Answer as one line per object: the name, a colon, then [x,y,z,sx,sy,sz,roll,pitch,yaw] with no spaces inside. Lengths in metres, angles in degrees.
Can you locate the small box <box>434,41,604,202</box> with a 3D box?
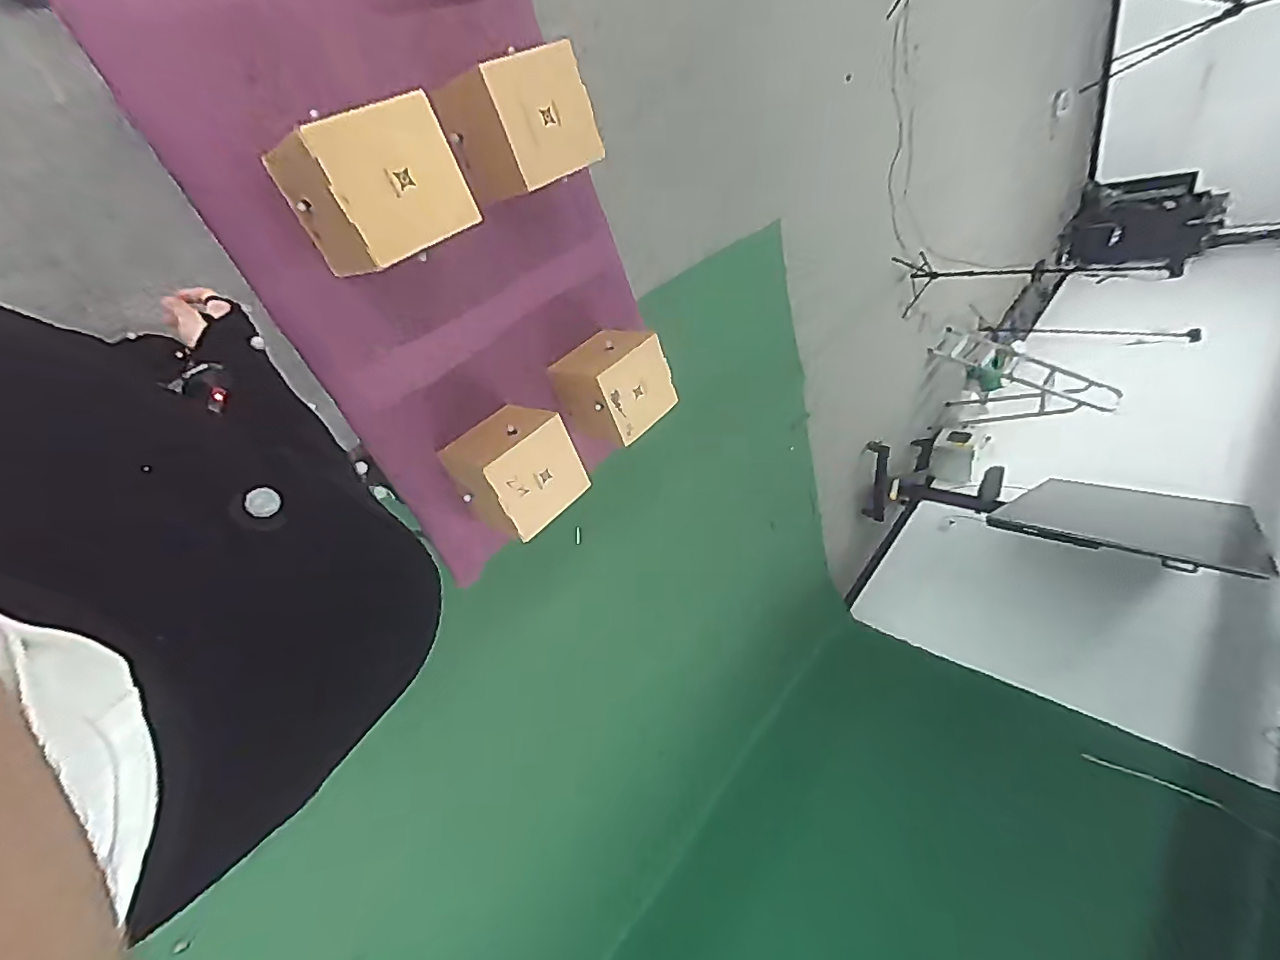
small box: [-0.194,-0.571,0.875,0.179,0.176,0.168,-41,128,-28]

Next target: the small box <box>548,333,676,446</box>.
small box: [-0.058,-0.197,1.129,0.179,0.176,0.168,-43,129,-28]

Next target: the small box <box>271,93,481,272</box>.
small box: [-0.364,-0.405,0.752,0.179,0.176,0.168,-43,130,-28]

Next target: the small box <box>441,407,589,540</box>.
small box: [-0.231,-0.022,1.003,0.179,0.176,0.168,-42,127,-30]
